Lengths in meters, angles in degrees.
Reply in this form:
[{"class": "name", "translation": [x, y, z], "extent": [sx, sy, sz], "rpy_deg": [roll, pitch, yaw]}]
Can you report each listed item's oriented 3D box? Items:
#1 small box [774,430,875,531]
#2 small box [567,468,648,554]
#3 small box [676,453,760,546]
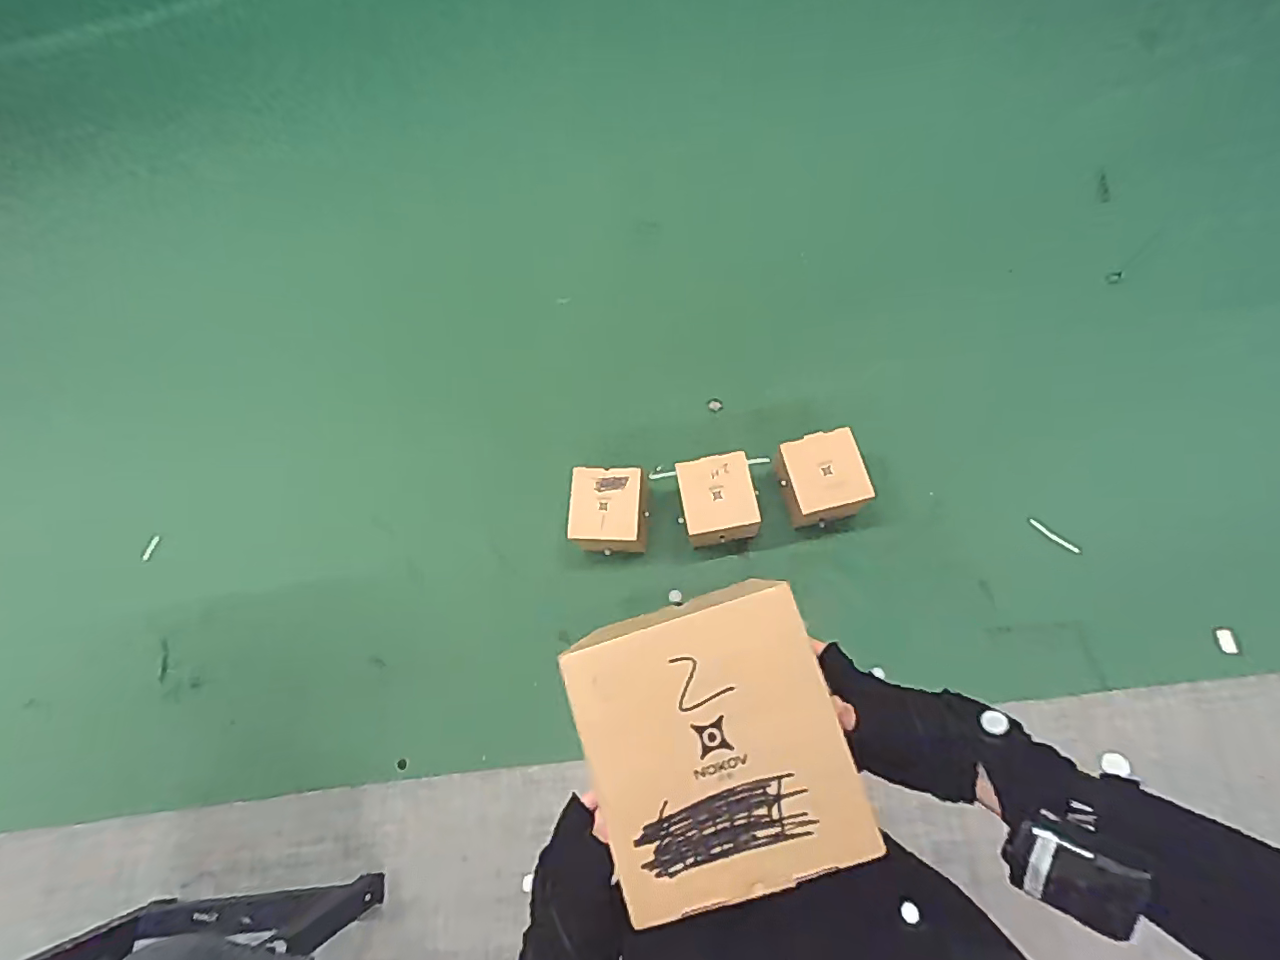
[{"class": "small box", "translation": [0.427, 0.007, 1.288], "extent": [0.168, 0.176, 0.179], "rpy_deg": [-14, 71, 3]}, {"class": "small box", "translation": [-0.071, 0.079, 1.325], "extent": [0.168, 0.176, 0.179], "rpy_deg": [1, 74, 8]}, {"class": "small box", "translation": [0.185, 0.056, 1.300], "extent": [0.168, 0.176, 0.179], "rpy_deg": [-10, 71, 3]}]
